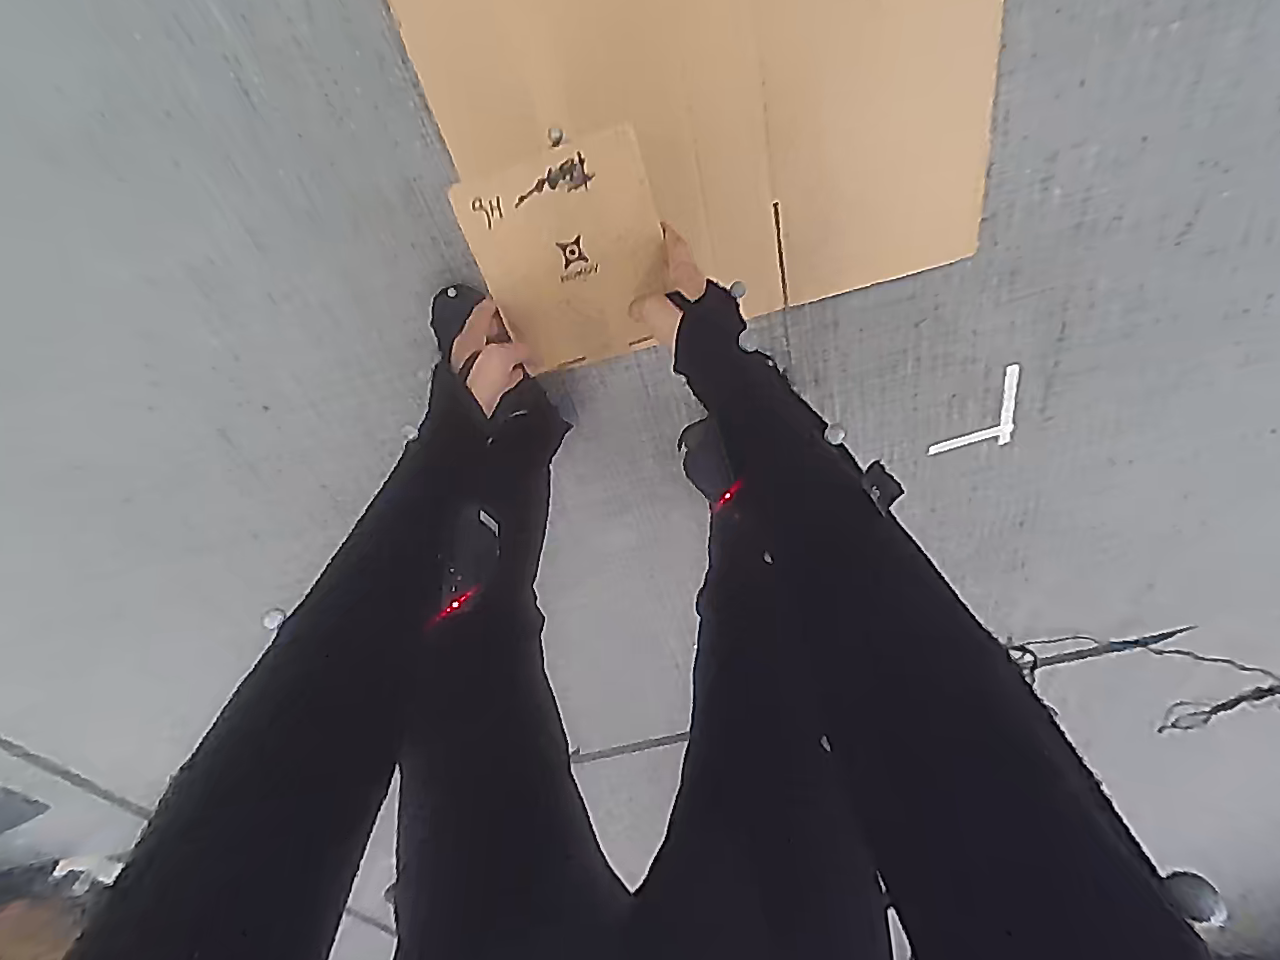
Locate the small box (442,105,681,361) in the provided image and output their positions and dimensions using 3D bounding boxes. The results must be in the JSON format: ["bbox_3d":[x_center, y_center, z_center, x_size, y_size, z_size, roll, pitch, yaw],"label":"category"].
[{"bbox_3d":[-0.062,-0.248,0.539,0.168,0.176,0.179,-15,122,8],"label":"small box"}]
